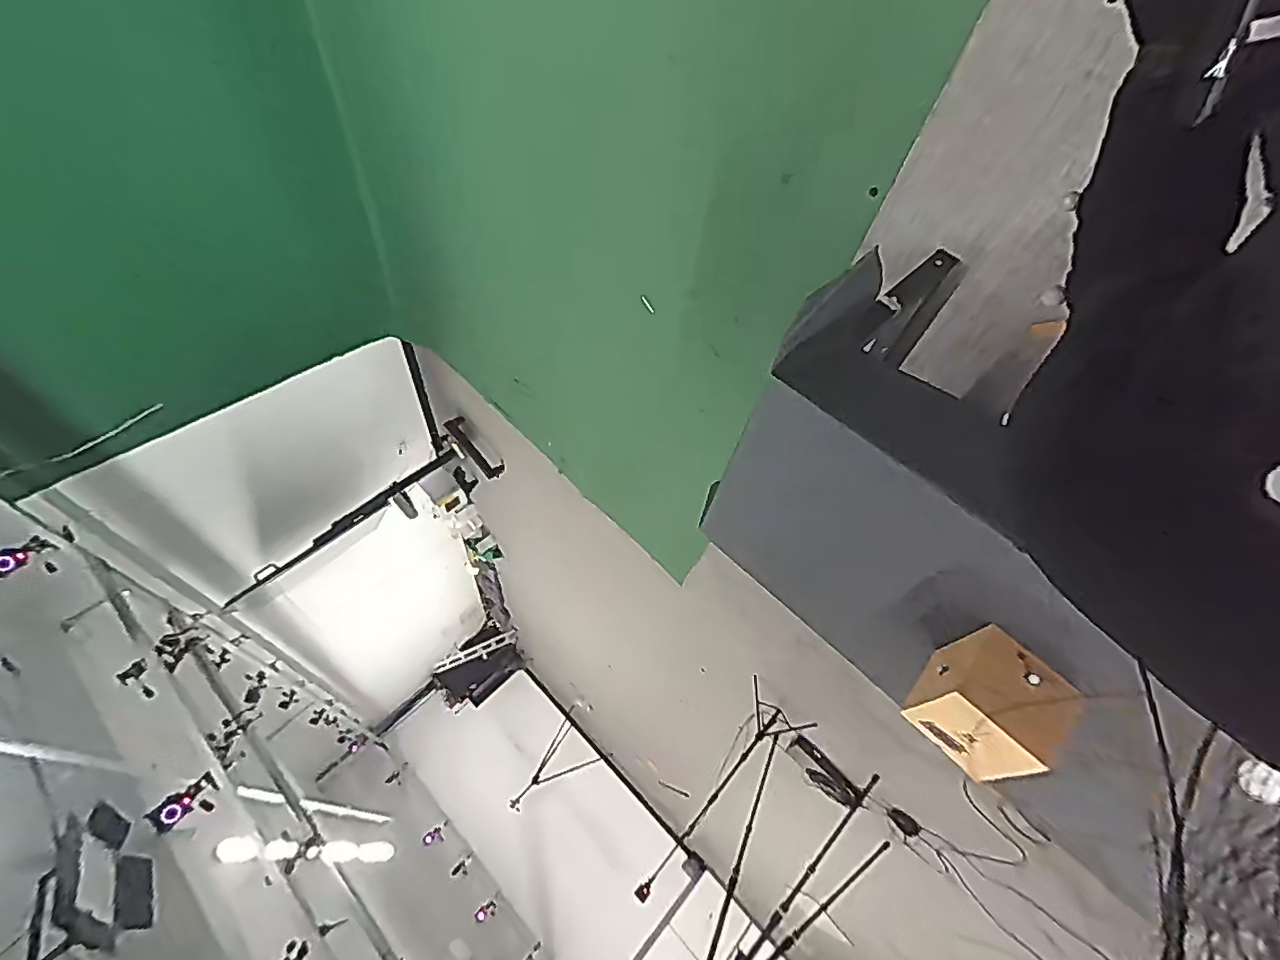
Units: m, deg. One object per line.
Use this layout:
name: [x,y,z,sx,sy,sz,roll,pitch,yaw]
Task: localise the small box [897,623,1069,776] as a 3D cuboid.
small box: [0.604,0.386,0.955,0.168,0.176,0.179,42,149,17]
